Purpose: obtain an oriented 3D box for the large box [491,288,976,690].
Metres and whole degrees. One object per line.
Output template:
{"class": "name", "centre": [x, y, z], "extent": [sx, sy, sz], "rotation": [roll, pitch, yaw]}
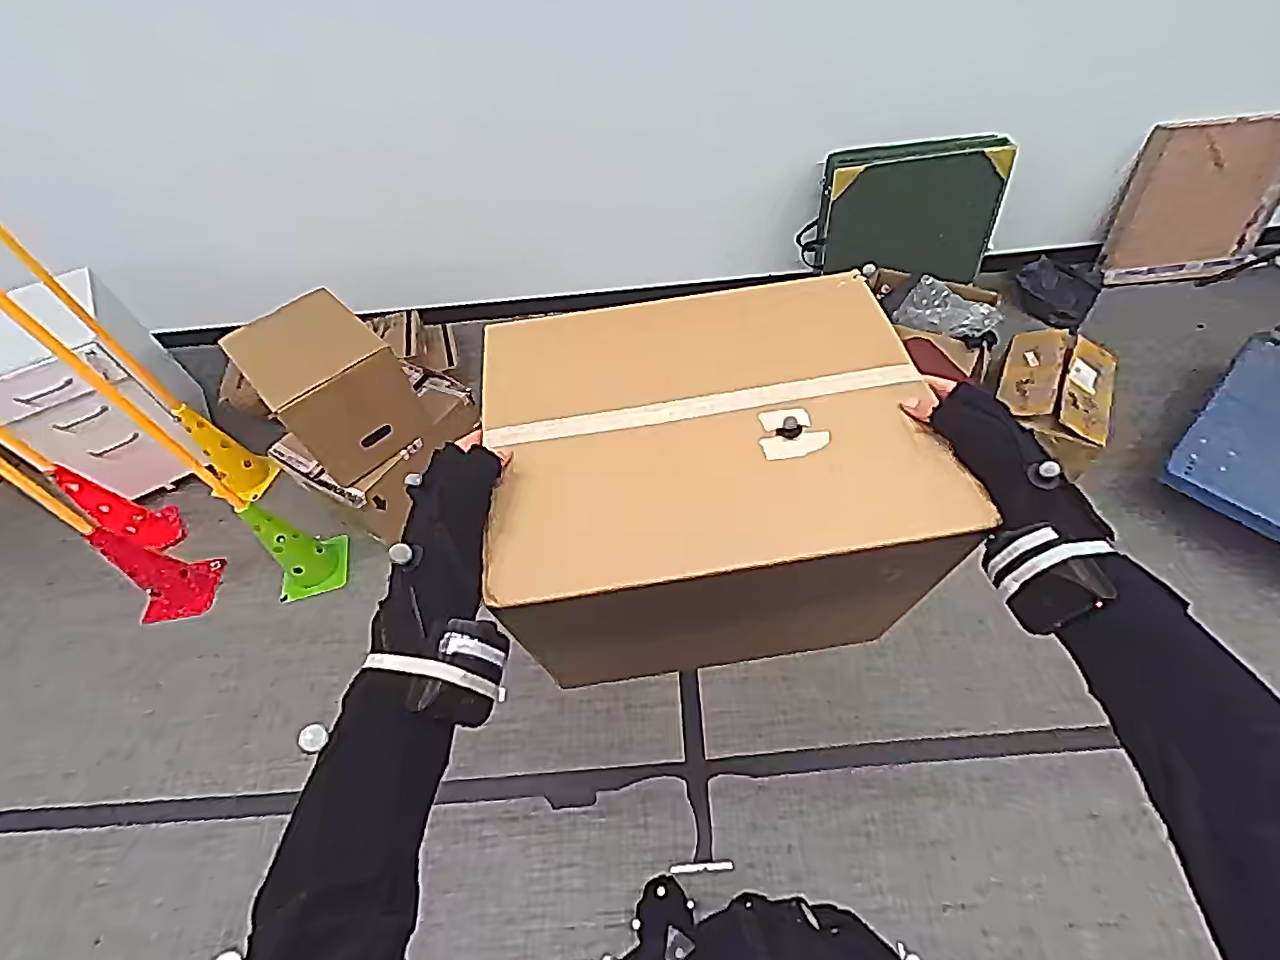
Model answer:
{"class": "large box", "centre": [0.064, 0.025, 0.633], "extent": [0.408, 0.320, 0.320], "rotation": [-9, 57, -1]}
